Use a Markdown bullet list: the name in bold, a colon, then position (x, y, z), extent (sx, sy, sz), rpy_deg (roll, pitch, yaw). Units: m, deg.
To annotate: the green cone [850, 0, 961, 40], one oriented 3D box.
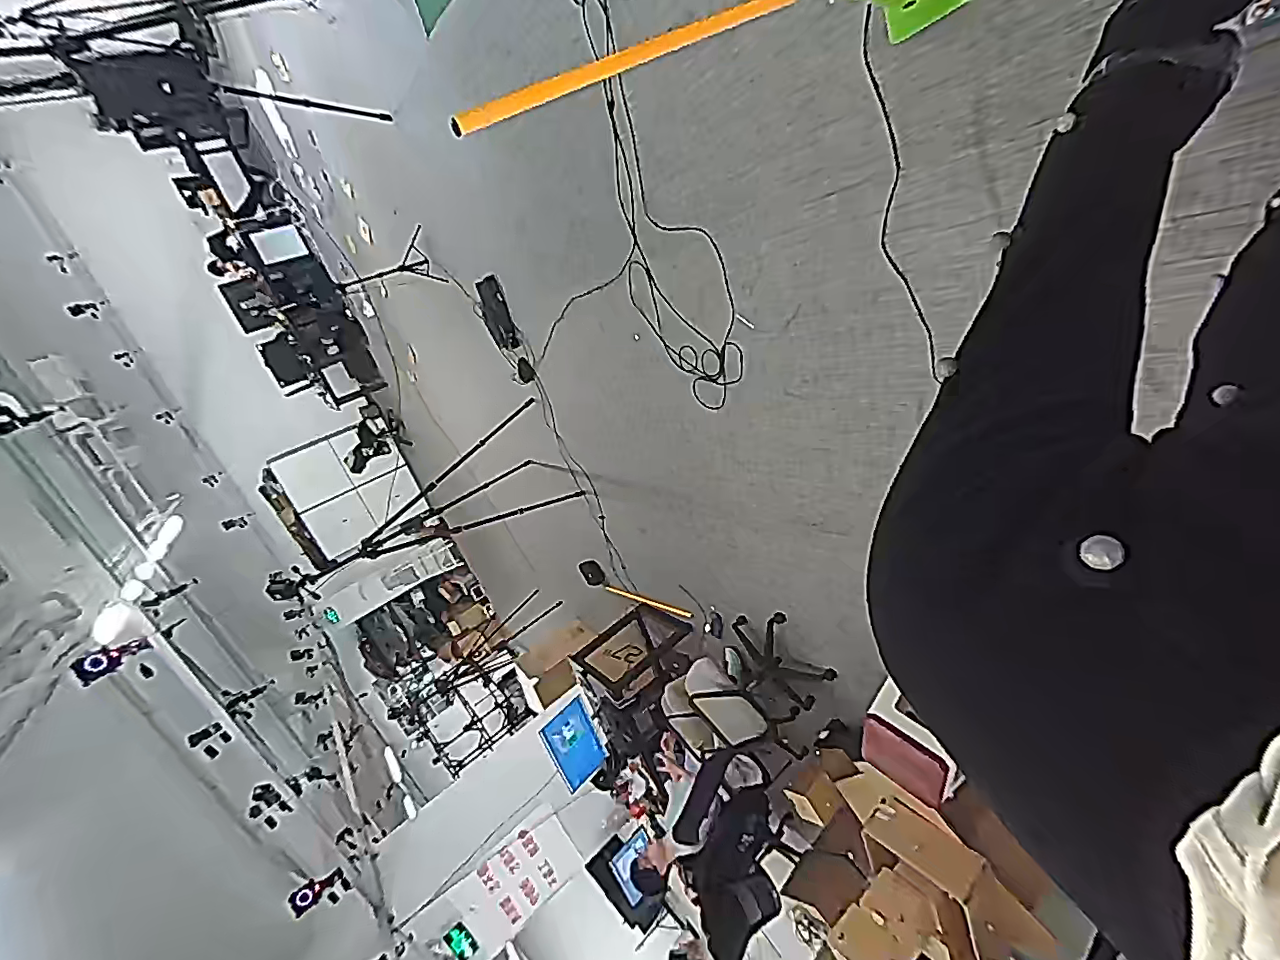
- **green cone**: position (0.504, -1.067, 1.136), extent (0.202, 0.368, 0.200), rpy_deg (9, 125, 57)
